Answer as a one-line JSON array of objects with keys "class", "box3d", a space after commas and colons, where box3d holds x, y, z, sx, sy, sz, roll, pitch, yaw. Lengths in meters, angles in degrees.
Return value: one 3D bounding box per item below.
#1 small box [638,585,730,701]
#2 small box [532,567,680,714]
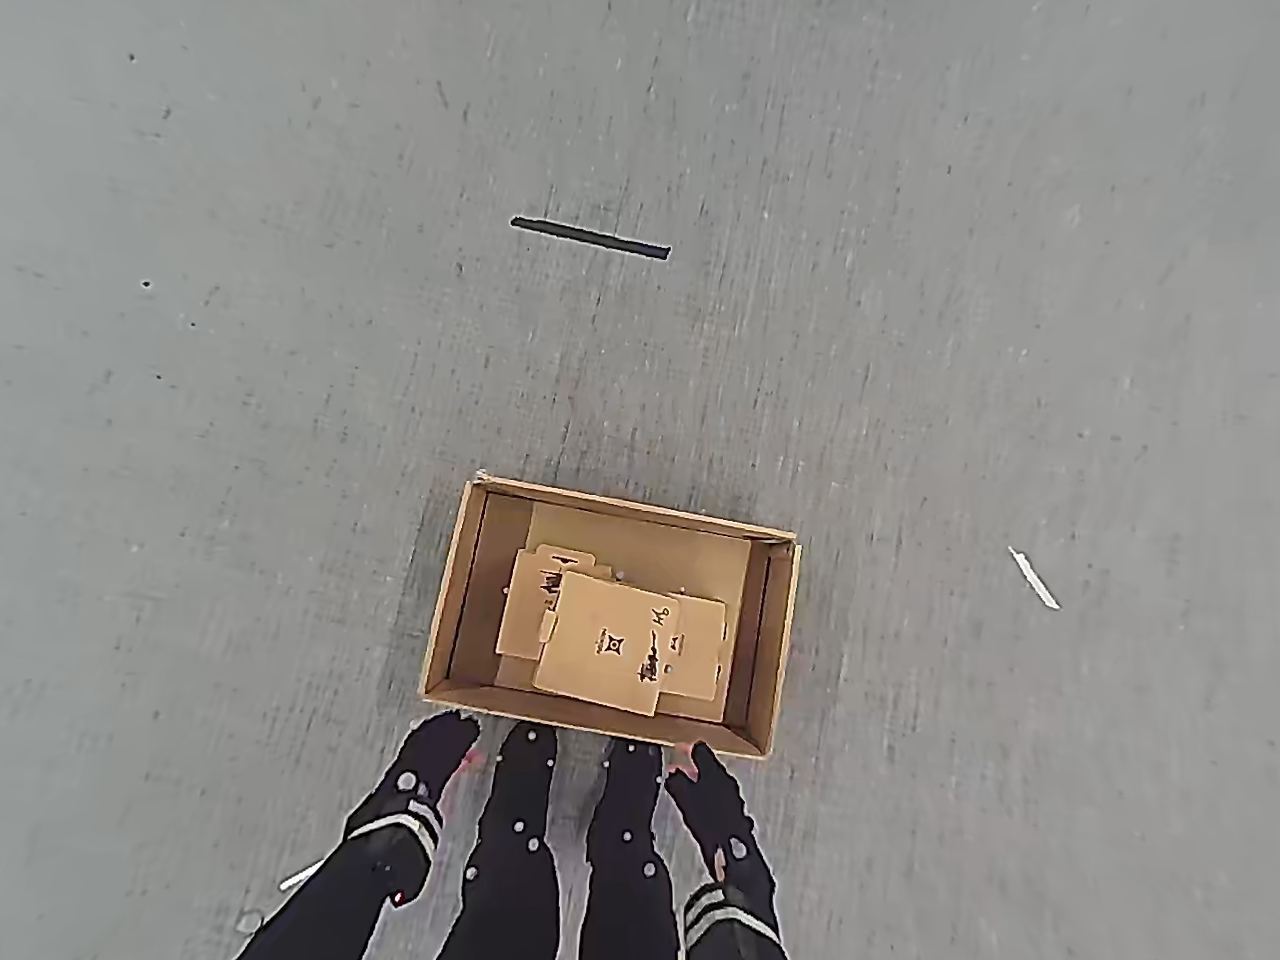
[{"class": "small box", "box3d": [0.052, 0.290, 0.999, 0.179, 0.176, 0.168, 11, 80, 0]}, {"class": "small box", "box3d": [-0.052, 0.237, 0.834, 0.179, 0.176, 0.168, 15, 81, -2]}]
